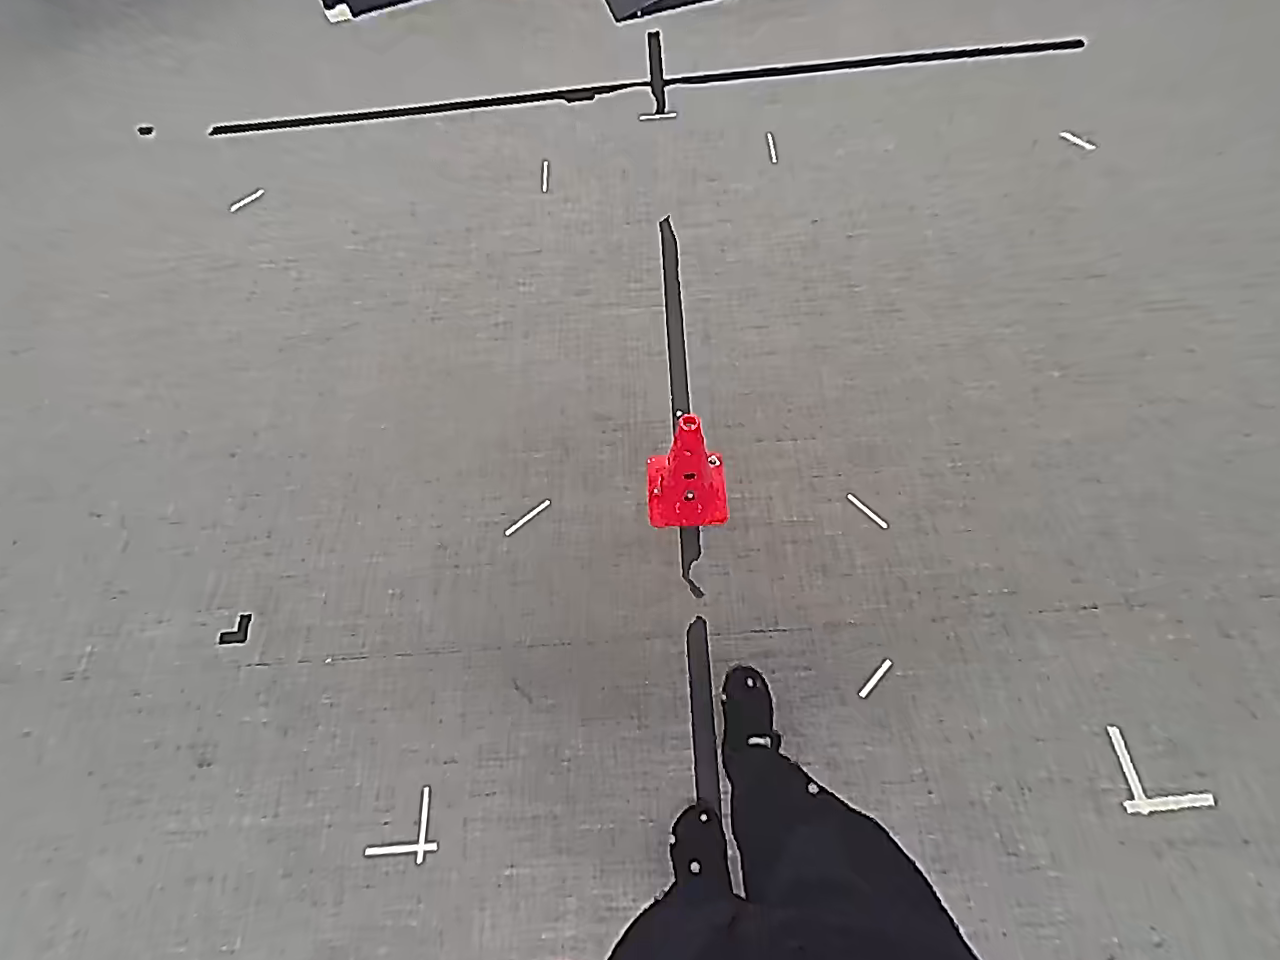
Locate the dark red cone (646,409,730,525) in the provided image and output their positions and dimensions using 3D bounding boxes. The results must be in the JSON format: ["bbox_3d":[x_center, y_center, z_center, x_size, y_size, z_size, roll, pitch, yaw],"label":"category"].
[{"bbox_3d":[0.107,-0.048,1.215,0.201,0.394,0.202,-5,67,3],"label":"dark red cone"}]
